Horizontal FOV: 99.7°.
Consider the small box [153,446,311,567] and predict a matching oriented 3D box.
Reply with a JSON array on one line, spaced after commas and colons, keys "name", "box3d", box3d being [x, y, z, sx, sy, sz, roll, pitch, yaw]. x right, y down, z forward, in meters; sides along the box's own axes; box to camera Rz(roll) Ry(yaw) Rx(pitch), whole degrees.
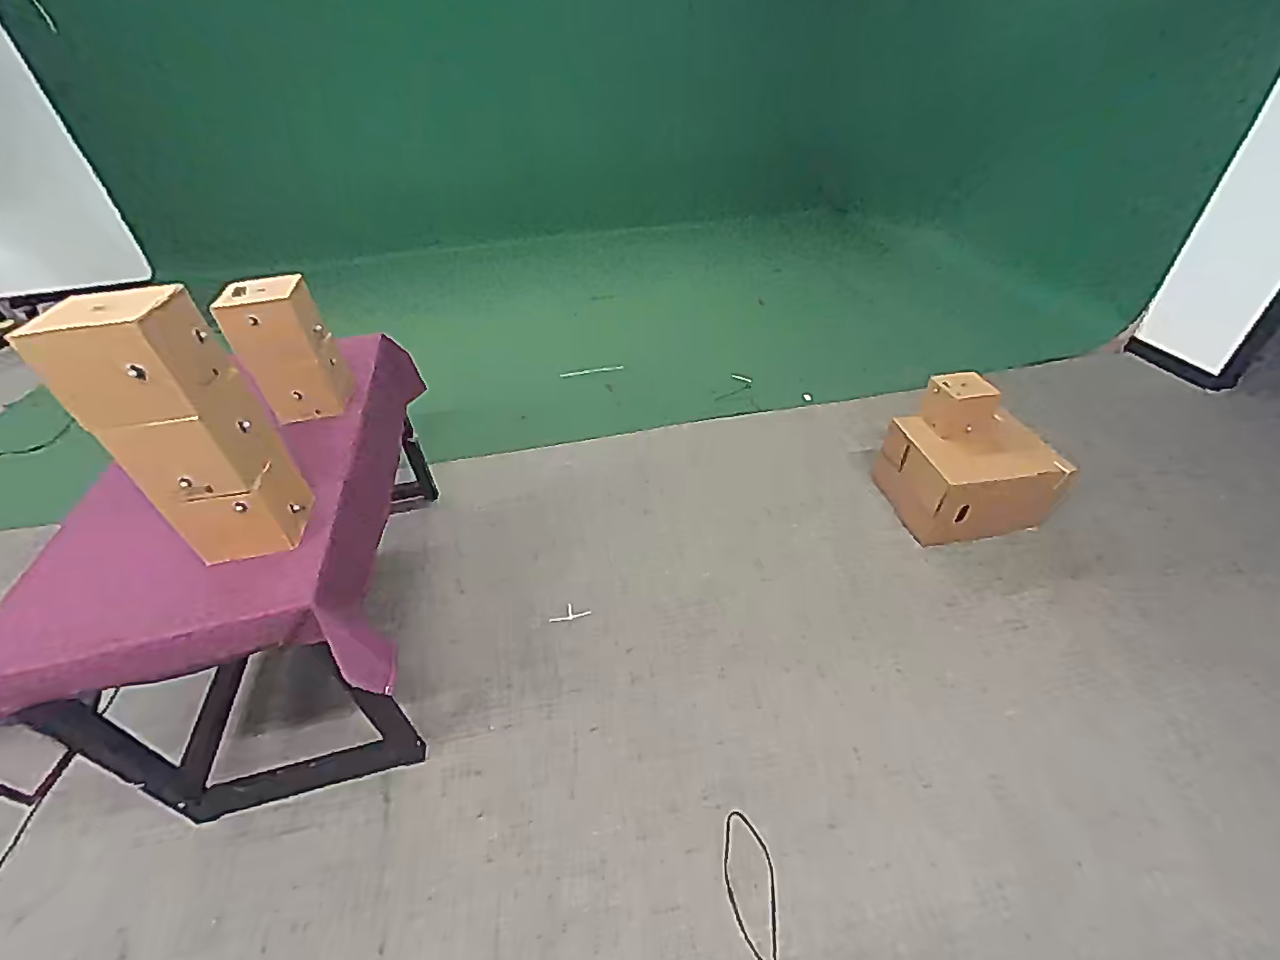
[{"name": "small box", "box3d": [-0.814, 0.057, 1.102, 0.179, 0.176, 0.168, -11, 41, -8]}]

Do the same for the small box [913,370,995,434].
[{"name": "small box", "box3d": [1.142, -0.285, 1.982, 0.179, 0.176, 0.168, -7, 39, -6]}]

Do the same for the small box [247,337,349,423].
[{"name": "small box", "box3d": [-0.931, -0.270, 1.492, 0.168, 0.176, 0.179, -11, 41, -8]}]

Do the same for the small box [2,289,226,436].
[{"name": "small box", "box3d": [-0.839, -0.194, 0.892, 0.179, 0.176, 0.168, -11, 40, -7]}]

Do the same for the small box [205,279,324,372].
[{"name": "small box", "box3d": [-0.949, -0.393, 1.383, 0.179, 0.176, 0.168, -12, 42, -10]}]
